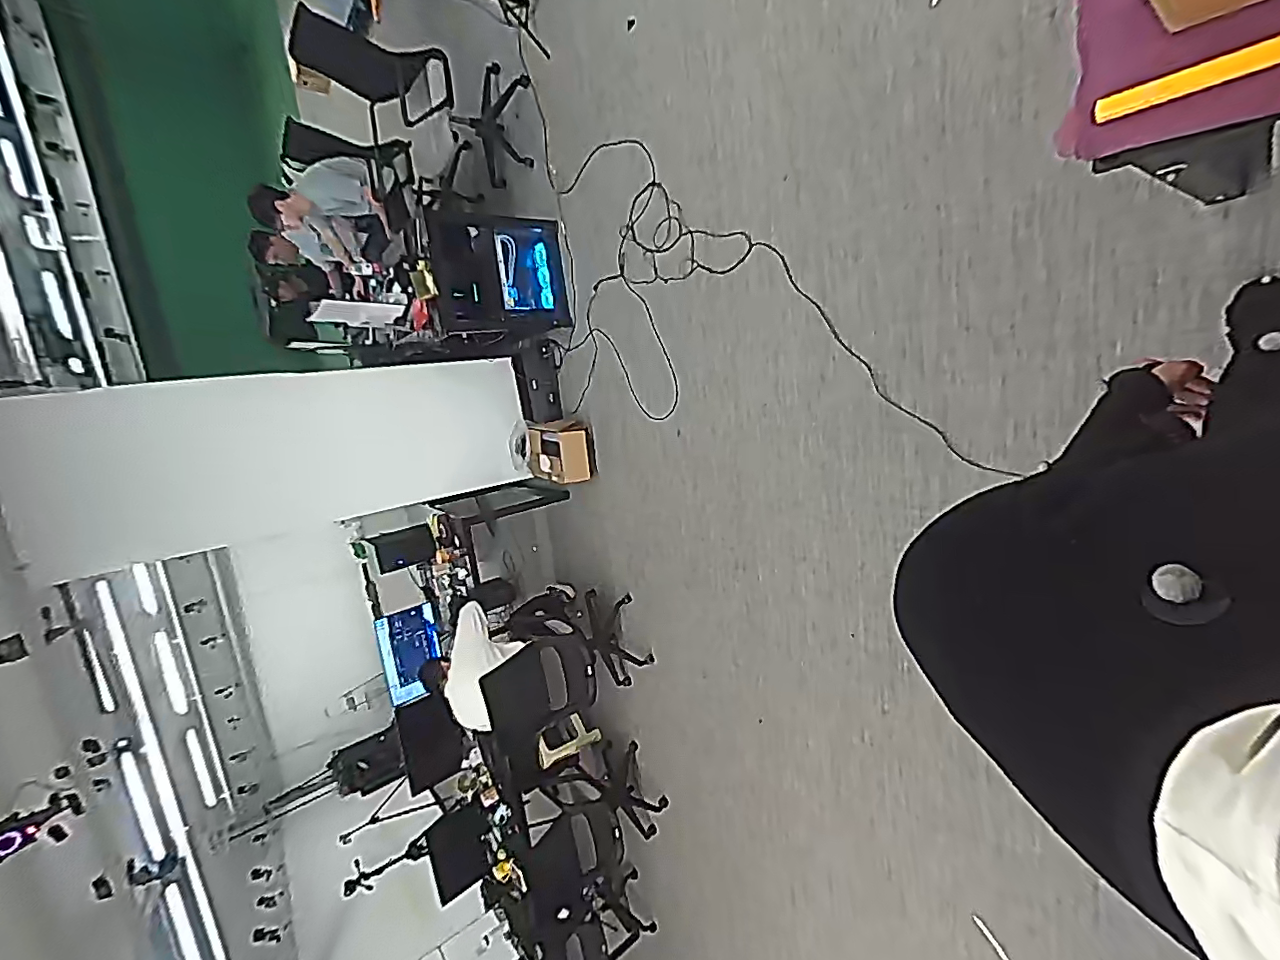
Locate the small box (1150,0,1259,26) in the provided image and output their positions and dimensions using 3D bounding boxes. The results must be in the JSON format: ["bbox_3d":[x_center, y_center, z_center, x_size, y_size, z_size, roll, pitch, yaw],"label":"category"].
[{"bbox_3d":[0.584,-0.553,0.476,0.179,0.176,0.168,13,113,50],"label":"small box"}]
